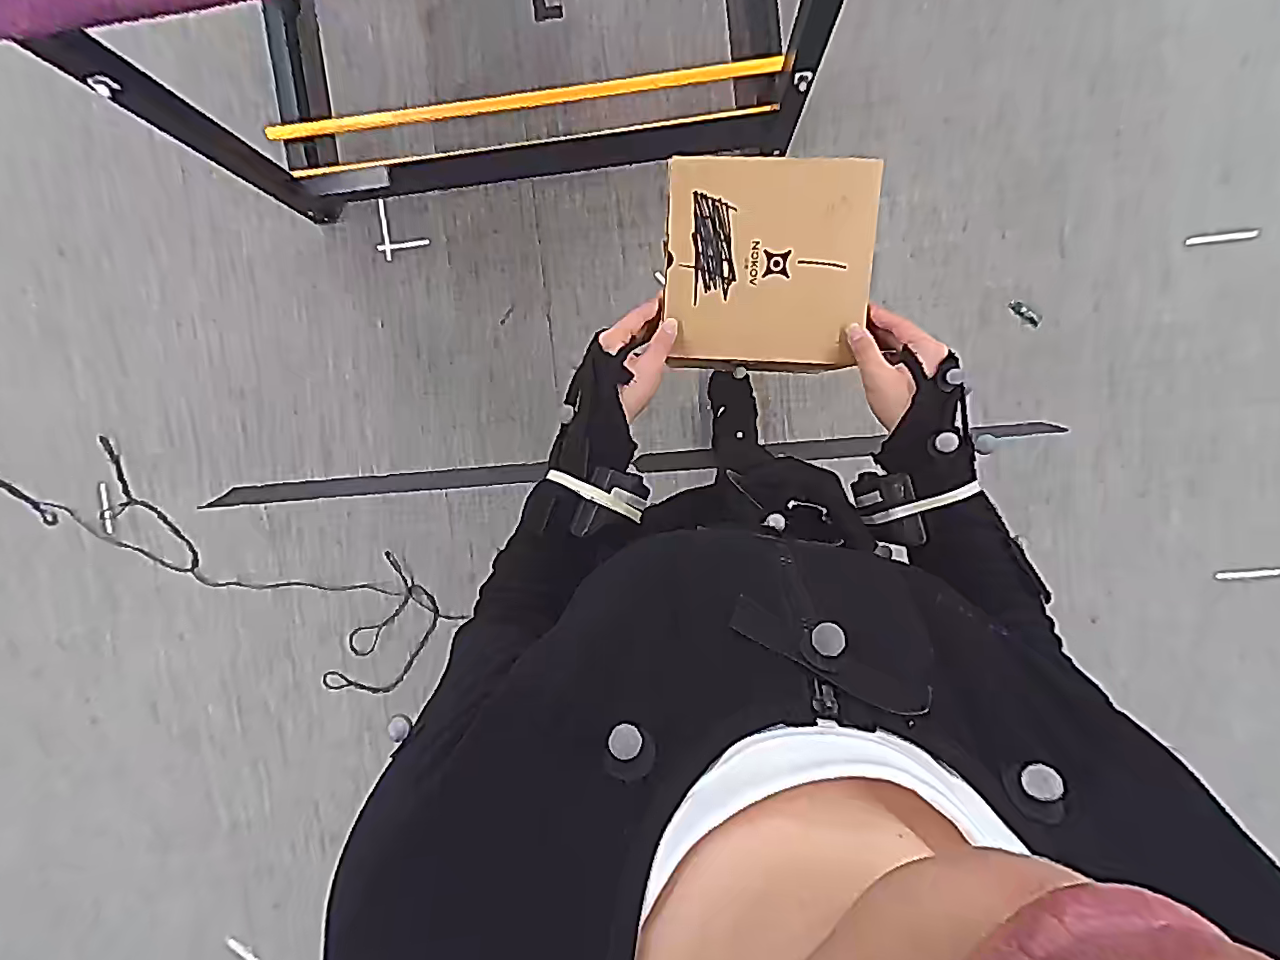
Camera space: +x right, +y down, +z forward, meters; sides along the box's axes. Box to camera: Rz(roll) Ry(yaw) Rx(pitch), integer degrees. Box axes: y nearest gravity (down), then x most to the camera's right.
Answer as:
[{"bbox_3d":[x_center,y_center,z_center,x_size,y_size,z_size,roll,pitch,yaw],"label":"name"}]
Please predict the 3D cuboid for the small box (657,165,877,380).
[{"bbox_3d":[0.113,-0.190,0.541,0.179,0.176,0.168,3,97,5],"label":"small box"}]
